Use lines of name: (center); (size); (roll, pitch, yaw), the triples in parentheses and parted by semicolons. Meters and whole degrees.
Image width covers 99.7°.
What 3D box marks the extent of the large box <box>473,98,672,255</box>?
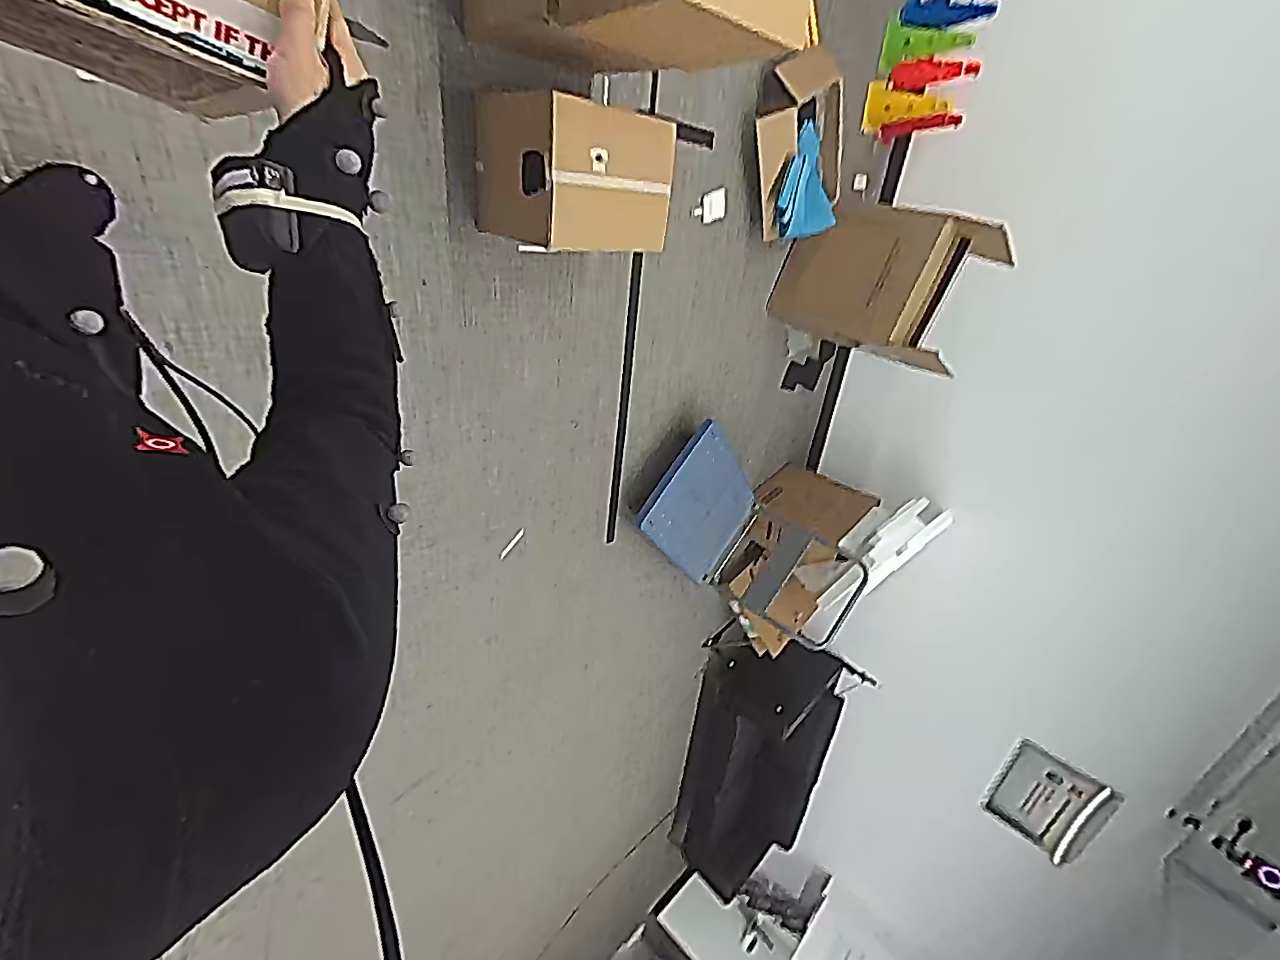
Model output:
large box: (-0.175, -0.780, 1.413); (0.408, 0.320, 0.320); (-21, 128, -41)
